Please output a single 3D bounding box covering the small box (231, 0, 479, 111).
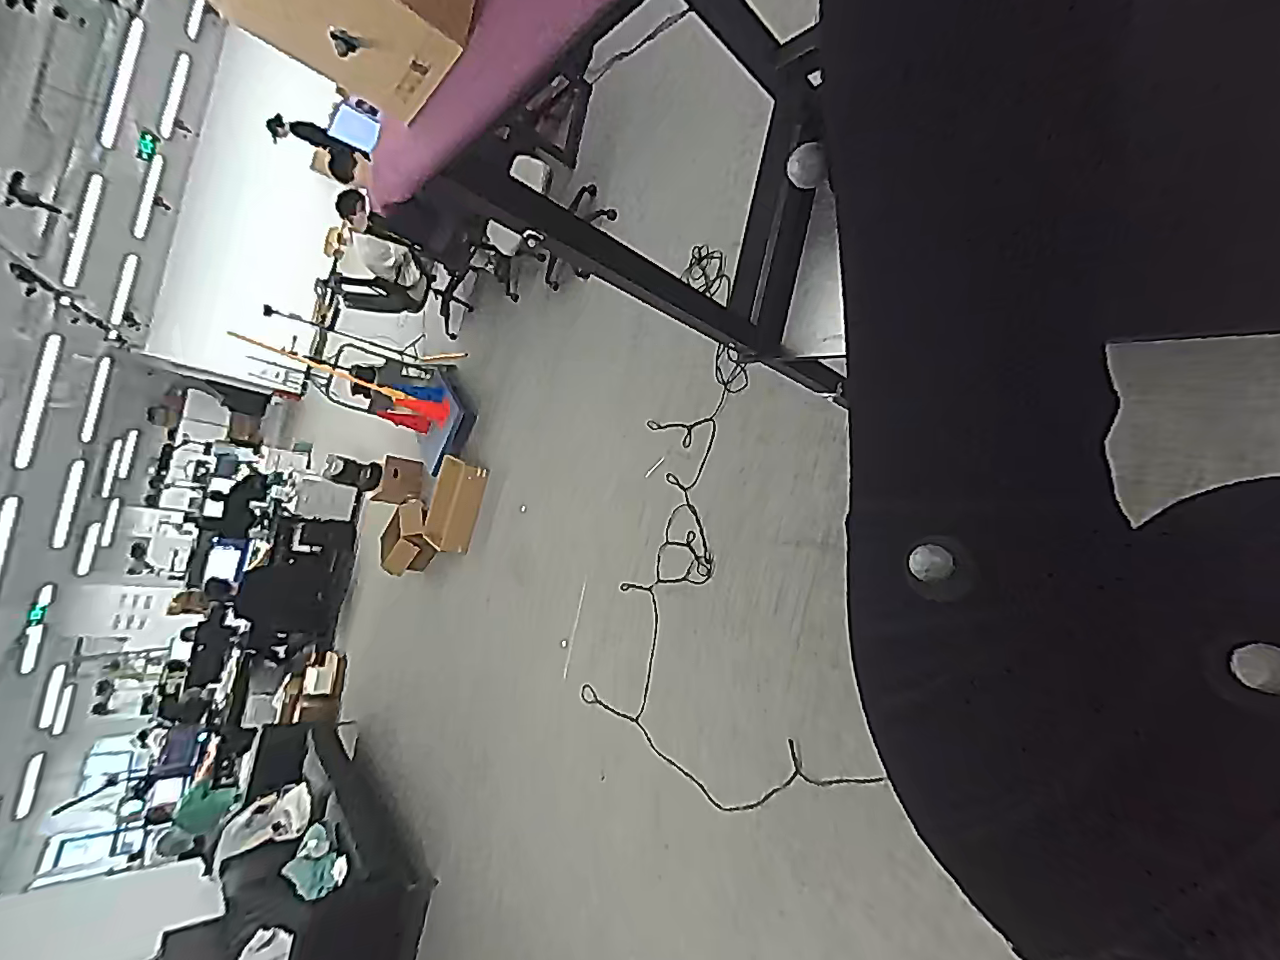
[{"bbox_3d":[-0.244,-0.477,0.486,0.168,0.176,0.179,7,86,49],"label":"small box"}]
